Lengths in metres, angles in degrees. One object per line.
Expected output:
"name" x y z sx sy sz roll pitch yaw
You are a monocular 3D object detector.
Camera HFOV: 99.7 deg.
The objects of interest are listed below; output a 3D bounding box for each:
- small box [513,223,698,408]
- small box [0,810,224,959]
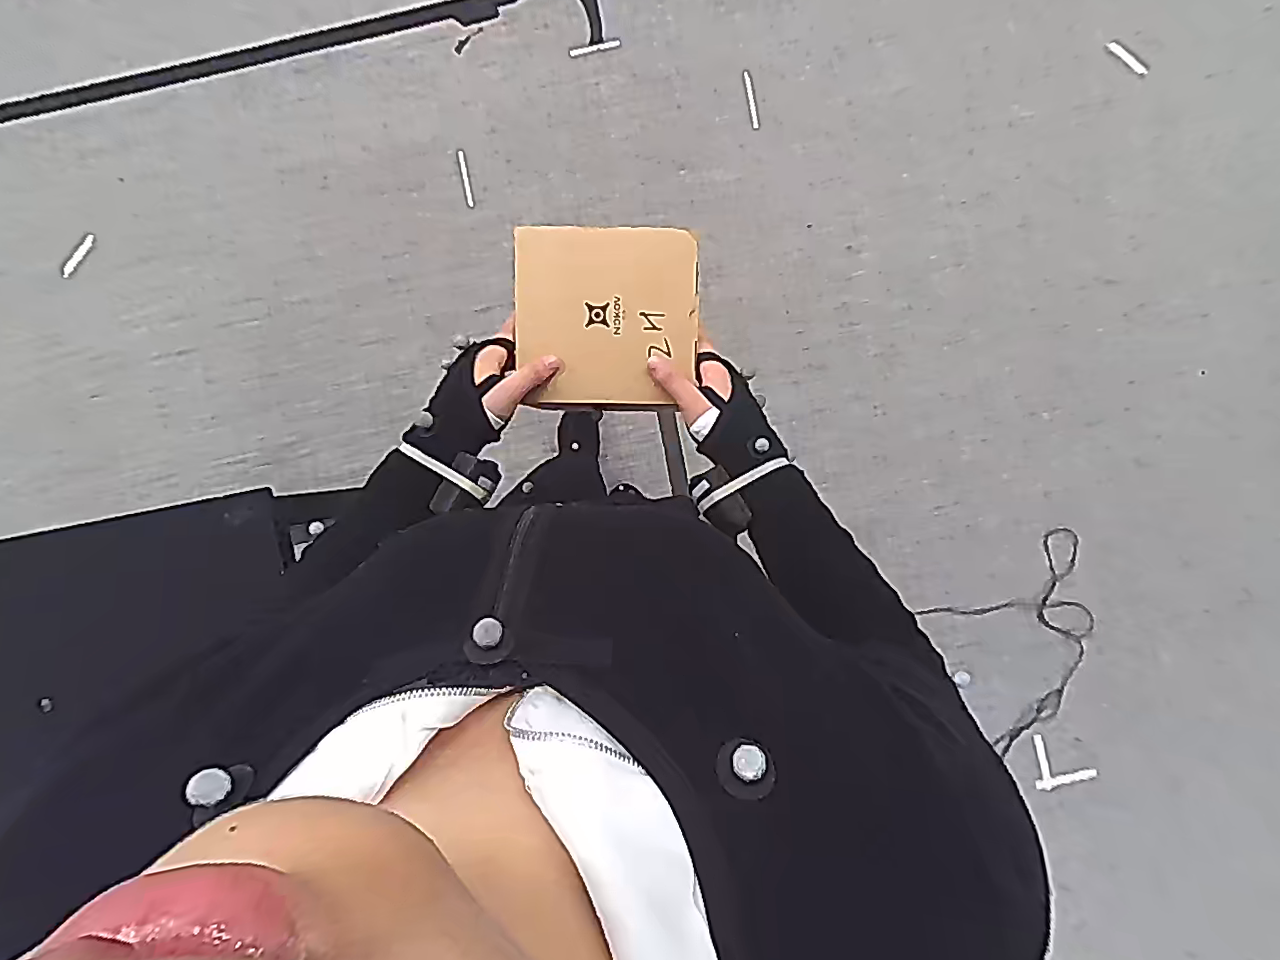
"small box" -0.034 -0.165 0.594 0.179 0.176 0.168 1 96 -1
"small box" -0.693 0.563 0.698 0.179 0.176 0.168 -7 92 -1
